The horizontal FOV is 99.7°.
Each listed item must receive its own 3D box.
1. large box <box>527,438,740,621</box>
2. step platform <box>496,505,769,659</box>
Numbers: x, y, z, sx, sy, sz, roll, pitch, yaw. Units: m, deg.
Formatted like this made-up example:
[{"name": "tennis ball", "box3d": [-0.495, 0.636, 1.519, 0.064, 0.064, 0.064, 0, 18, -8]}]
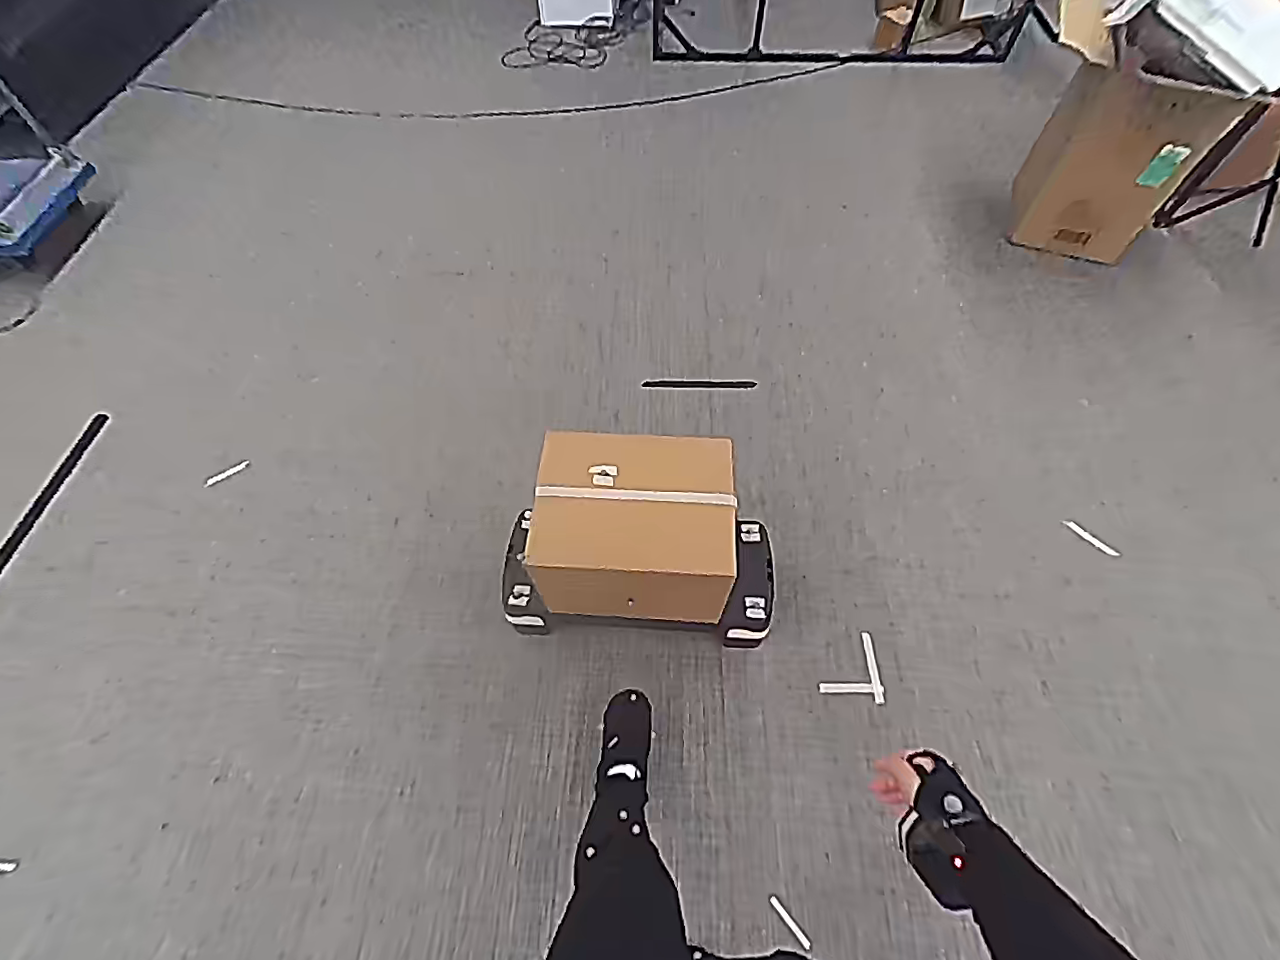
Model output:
[{"name": "large box", "box3d": [-0.001, 0.119, 1.203, 0.408, 0.320, 0.320, 2, 58, 3]}, {"name": "step platform", "box3d": [-0.015, 0.256, 1.399, 0.684, 0.204, 0.286, 6, 59, 6]}]
